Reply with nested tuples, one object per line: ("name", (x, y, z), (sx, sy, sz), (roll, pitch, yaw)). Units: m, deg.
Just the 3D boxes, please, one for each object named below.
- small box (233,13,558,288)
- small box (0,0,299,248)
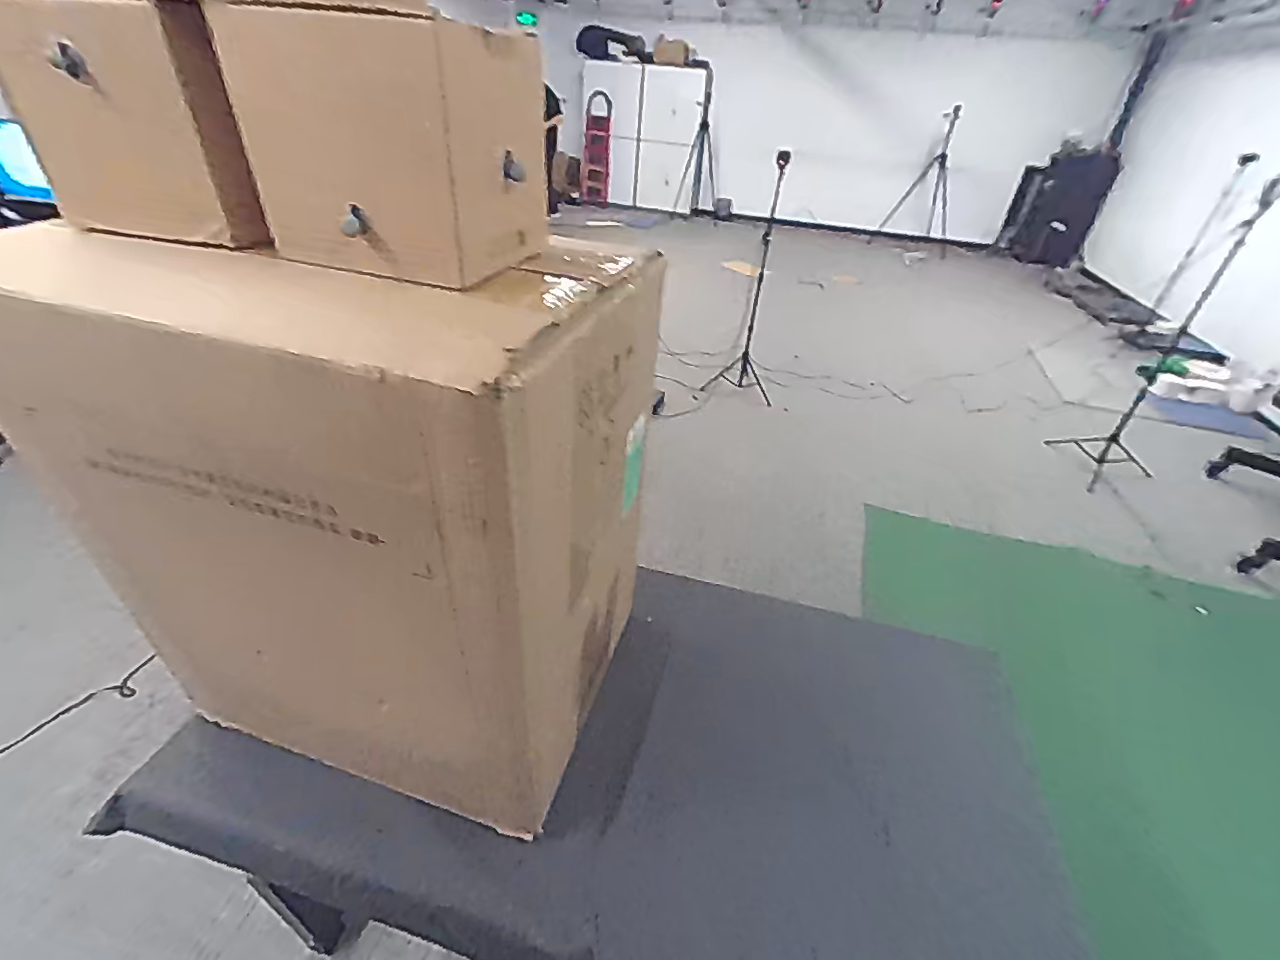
("small box", (-0.180, -0.274, 0.462), (0.179, 0.176, 0.168), (12, 36, 10))
("small box", (-0.392, -0.324, 0.500), (0.179, 0.176, 0.168), (12, 36, 8))
